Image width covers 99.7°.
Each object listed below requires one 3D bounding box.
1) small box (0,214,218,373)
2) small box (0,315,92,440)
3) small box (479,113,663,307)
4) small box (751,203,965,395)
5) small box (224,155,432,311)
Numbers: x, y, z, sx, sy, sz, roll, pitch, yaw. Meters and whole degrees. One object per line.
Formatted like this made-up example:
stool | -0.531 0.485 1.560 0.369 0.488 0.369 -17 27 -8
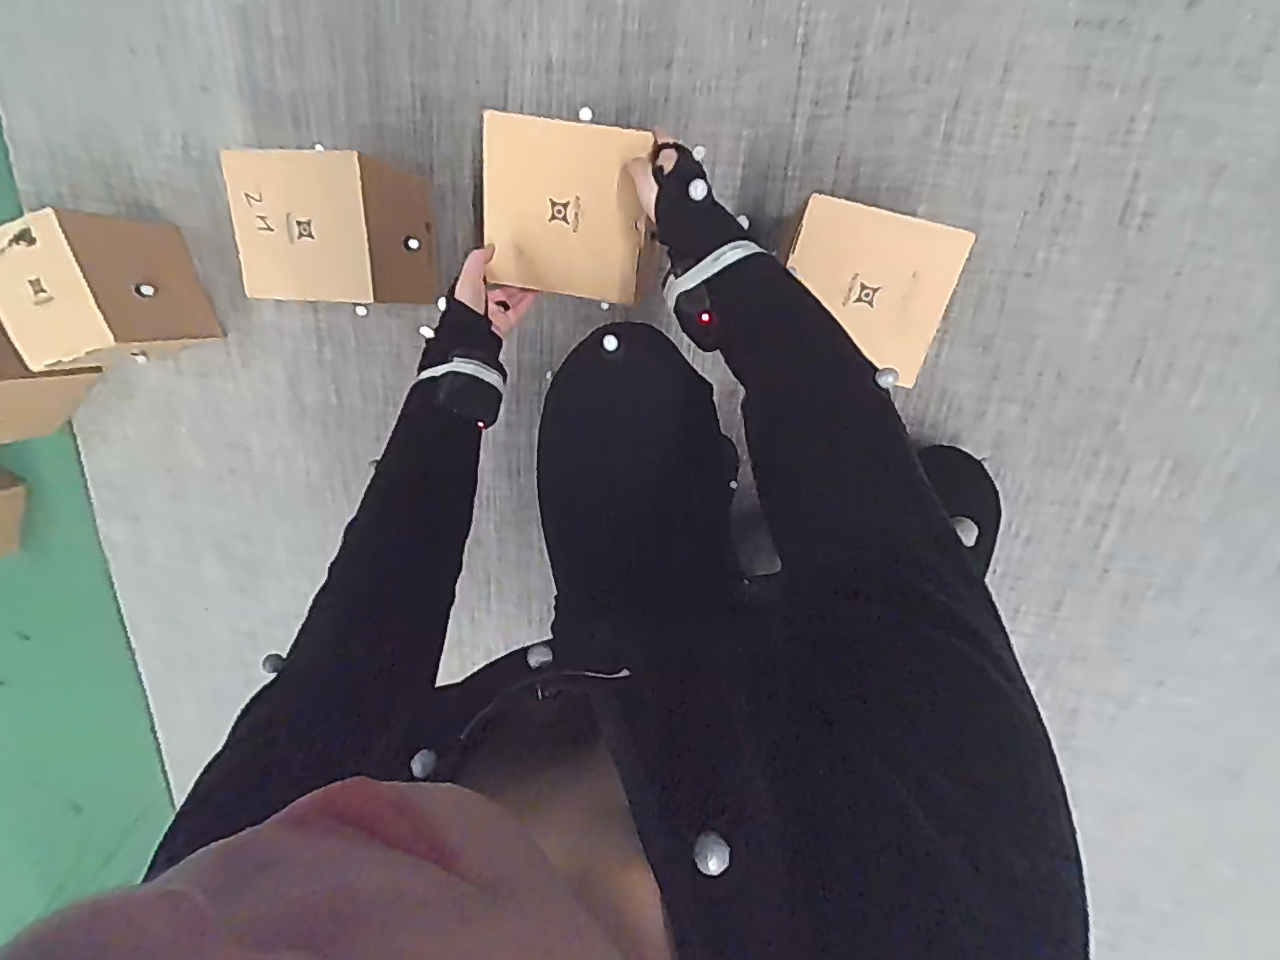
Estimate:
small box | -0.782 -0.268 0.795 0.168 0.176 0.179 -10 106 12
small box | -1.056 -0.171 0.866 0.179 0.176 0.168 -37 98 16
small box | -0.076 -0.313 0.639 0.179 0.176 0.168 10 118 2
small box | 0.243 -0.215 0.661 0.179 0.176 0.168 16 109 2
small box | -0.394 -0.317 0.720 0.179 0.176 0.168 5 107 6
